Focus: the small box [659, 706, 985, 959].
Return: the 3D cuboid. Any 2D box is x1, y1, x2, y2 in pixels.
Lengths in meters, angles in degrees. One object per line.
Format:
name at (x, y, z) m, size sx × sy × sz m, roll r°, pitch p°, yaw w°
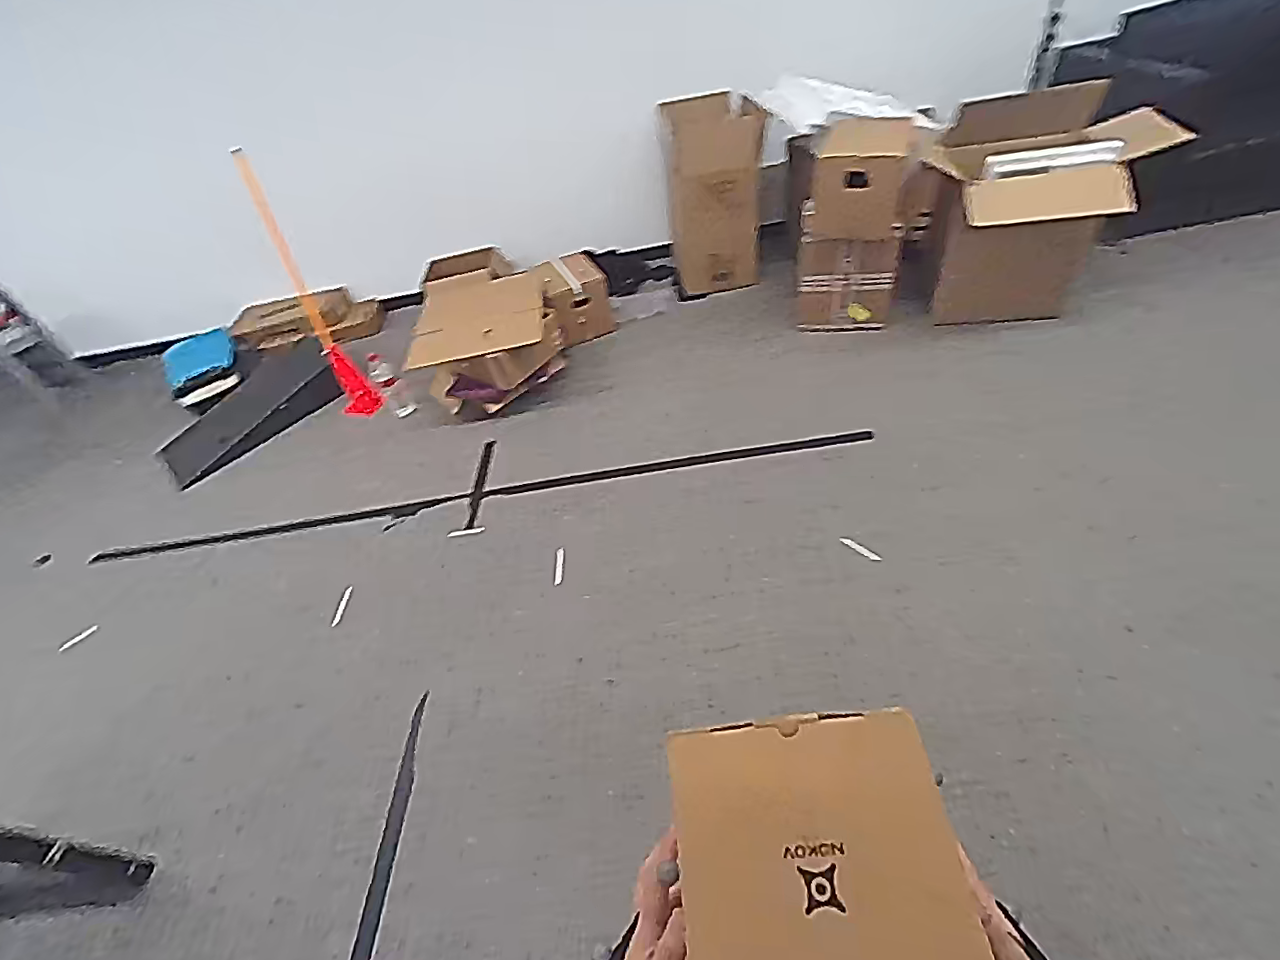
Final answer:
small box at (0.112, 0.277, 0.383) m, size 0.168 × 0.176 × 0.179 m, roll -9°, pitch 54°, yaw 3°
